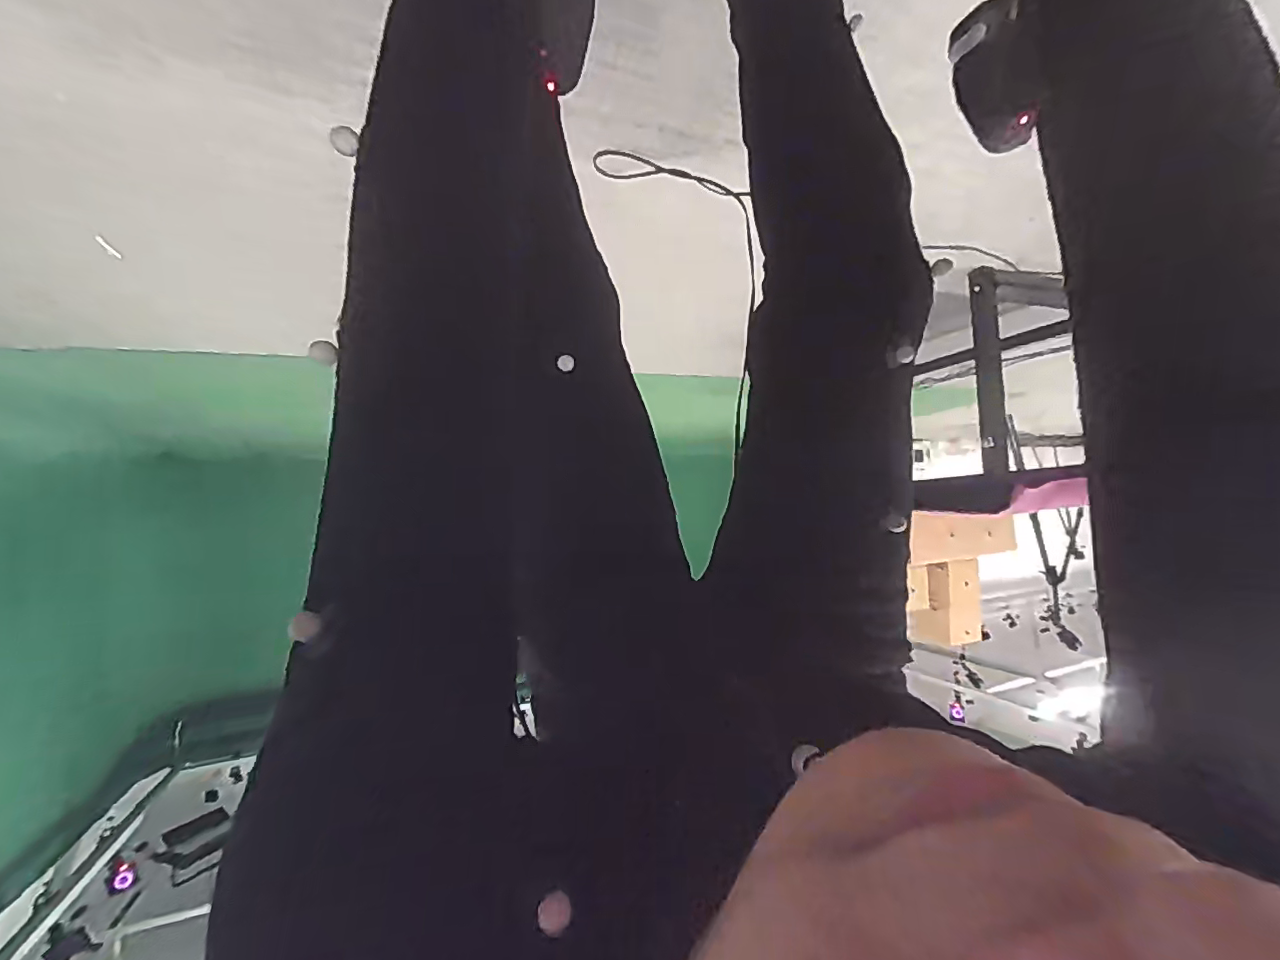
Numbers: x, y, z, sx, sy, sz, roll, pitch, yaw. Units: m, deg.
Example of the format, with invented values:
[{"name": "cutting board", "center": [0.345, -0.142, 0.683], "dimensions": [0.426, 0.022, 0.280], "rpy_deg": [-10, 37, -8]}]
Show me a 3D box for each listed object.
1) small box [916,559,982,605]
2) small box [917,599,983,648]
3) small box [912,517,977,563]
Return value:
[{"name": "small box", "center": [1.250, 0.404, 2.194], "dimensions": [0.179, 0.176, 0.168], "rpy_deg": [-1, 178, -22]}, {"name": "small box", "center": [1.253, 0.566, 2.188], "dimensions": [0.179, 0.176, 0.168], "rpy_deg": [0, 177, -22]}, {"name": "small box", "center": [1.238, 0.240, 2.198], "dimensions": [0.179, 0.176, 0.168], "rpy_deg": [0, 177, -22]}]
